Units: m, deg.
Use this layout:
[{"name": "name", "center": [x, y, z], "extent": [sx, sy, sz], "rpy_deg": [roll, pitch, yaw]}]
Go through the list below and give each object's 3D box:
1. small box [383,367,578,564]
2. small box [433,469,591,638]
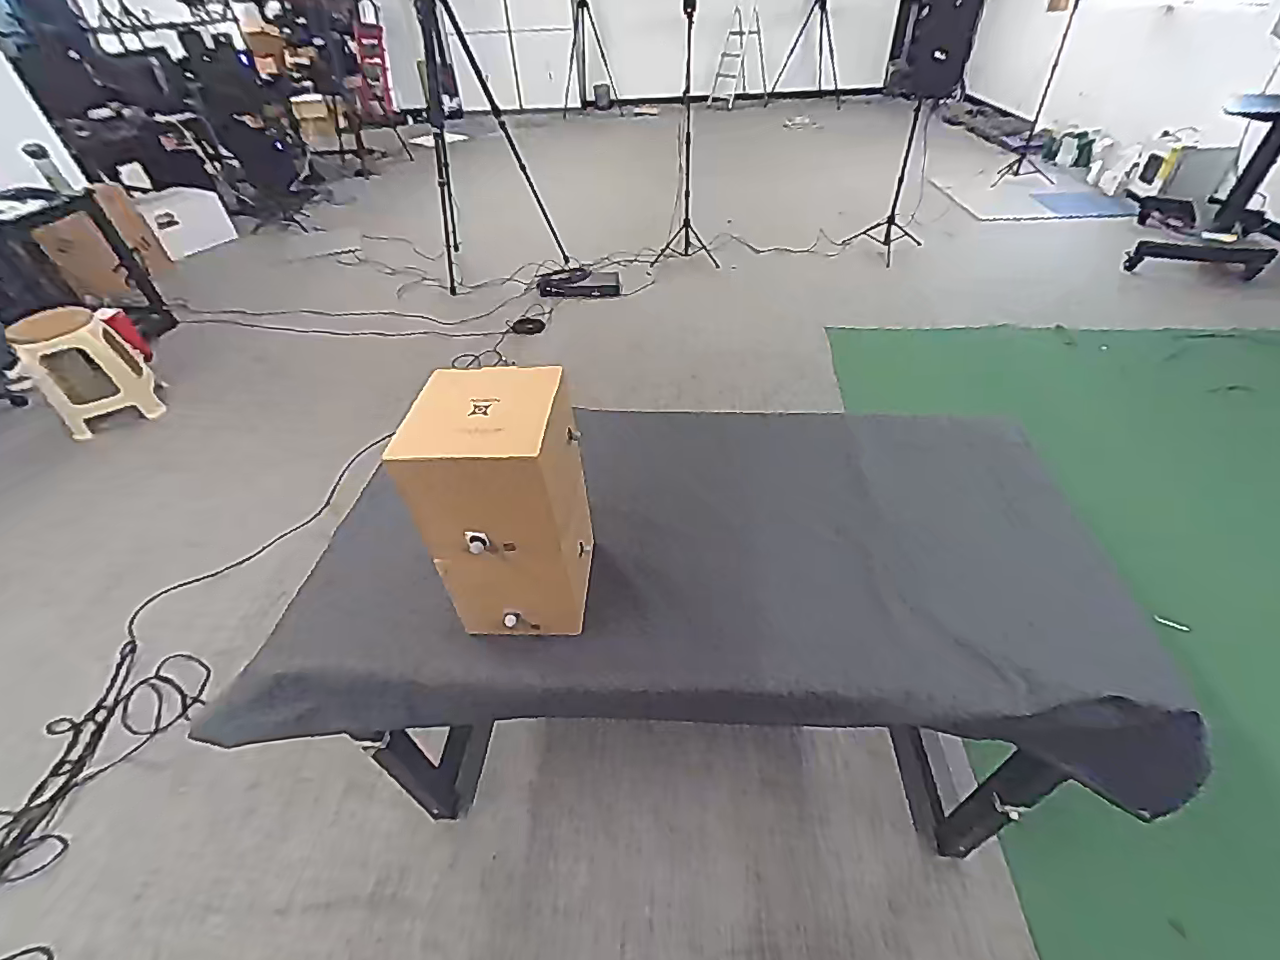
[{"name": "small box", "center": [-0.172, -0.019, 0.654], "extent": [0.168, 0.176, 0.179], "rpy_deg": [-2, 43, 4]}, {"name": "small box", "center": [-0.164, 0.101, 0.763], "extent": [0.168, 0.176, 0.179], "rpy_deg": [-1, 43, 3]}]
